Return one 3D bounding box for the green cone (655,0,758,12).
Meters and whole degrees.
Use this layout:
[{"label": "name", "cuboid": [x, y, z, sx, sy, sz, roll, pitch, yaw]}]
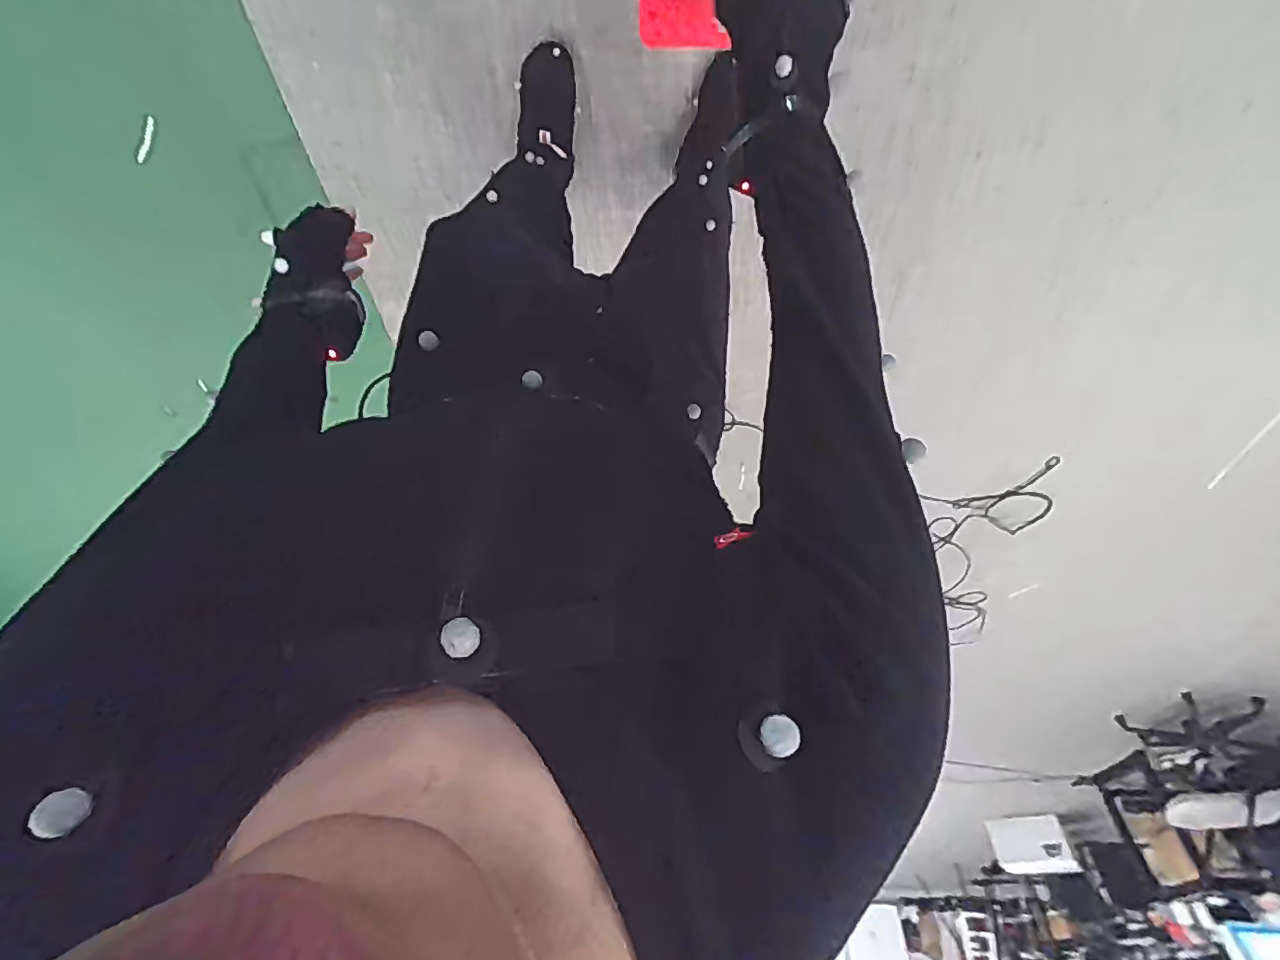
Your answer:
[{"label": "green cone", "cuboid": [0.115, -0.773, 0.762, 0.202, 0.368, 0.200, -2, 137, 3]}]
